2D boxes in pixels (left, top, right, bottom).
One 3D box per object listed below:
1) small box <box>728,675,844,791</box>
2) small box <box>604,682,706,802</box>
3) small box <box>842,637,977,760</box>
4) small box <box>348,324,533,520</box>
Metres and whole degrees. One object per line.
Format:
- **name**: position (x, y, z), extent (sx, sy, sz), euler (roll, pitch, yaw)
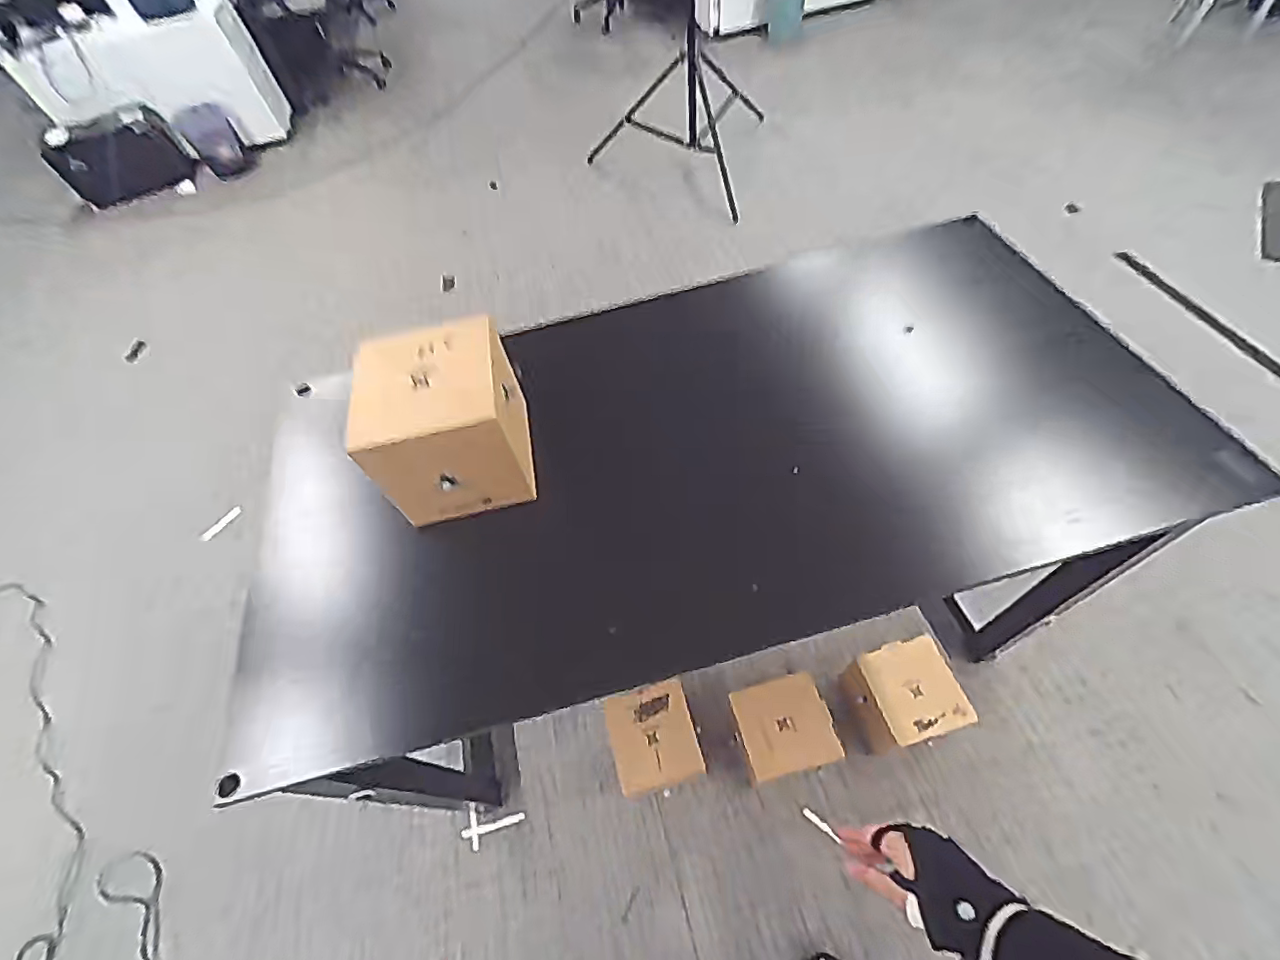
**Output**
- **small box**: position (0.288, 0.523, 1.113), extent (0.179, 0.176, 0.168), euler (-16, 55, -2)
- **small box**: position (0.032, 0.549, 1.127), extent (0.168, 0.176, 0.179), euler (-16, 56, -3)
- **small box**: position (0.542, 0.456, 1.121), extent (0.168, 0.176, 0.179), euler (-17, 55, -3)
- **small box**: position (-0.242, -0.065, 0.695), extent (0.168, 0.176, 0.179), euler (-13, 55, -2)
